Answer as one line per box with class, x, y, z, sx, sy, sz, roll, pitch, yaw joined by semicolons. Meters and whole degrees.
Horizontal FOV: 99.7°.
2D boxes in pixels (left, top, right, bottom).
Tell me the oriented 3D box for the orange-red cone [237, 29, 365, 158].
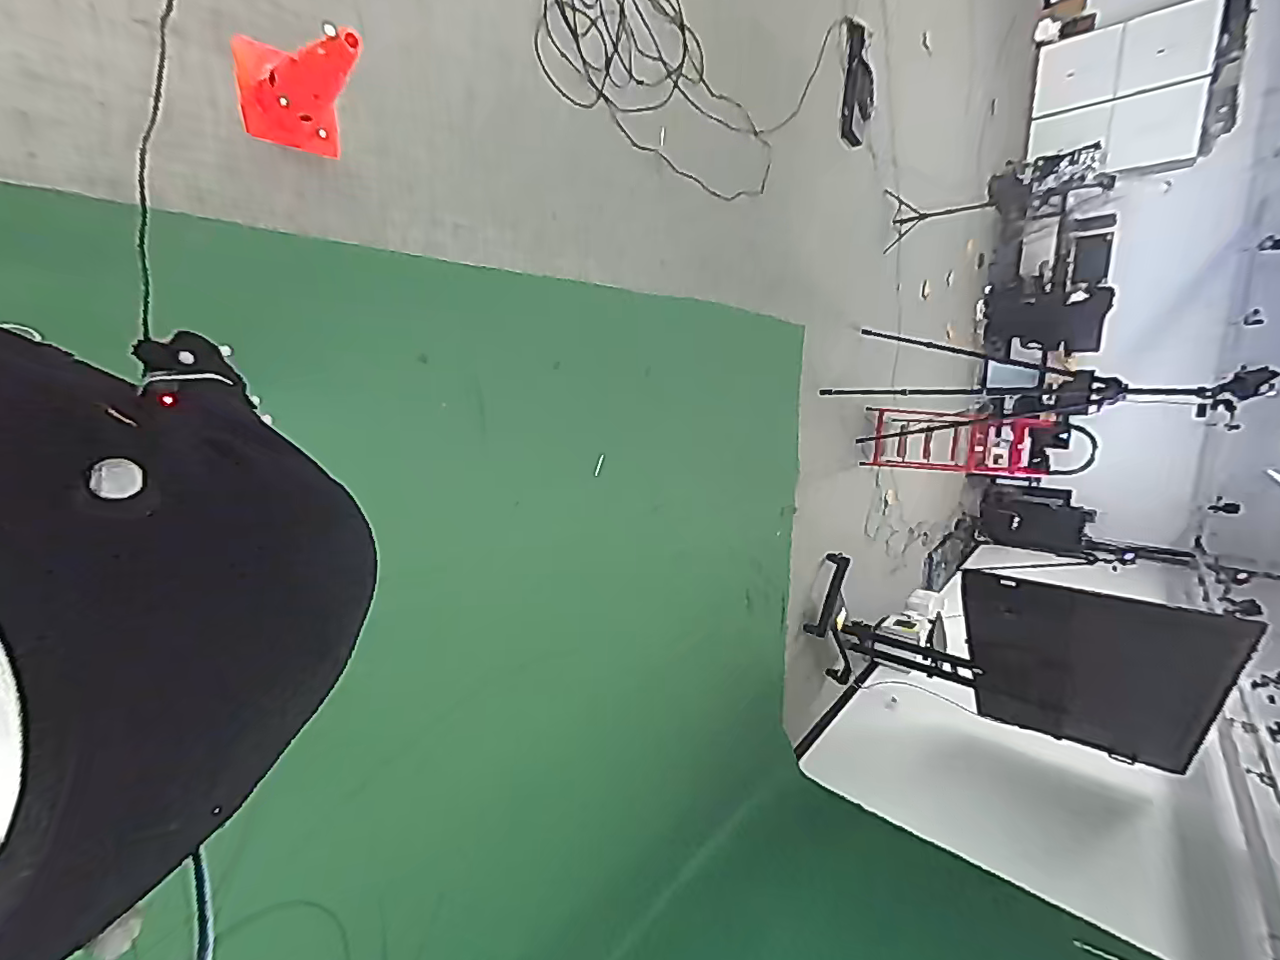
orange-red cone;-0.673;-0.853;1.133;0.198;0.360;0.199;-12;105;-48
